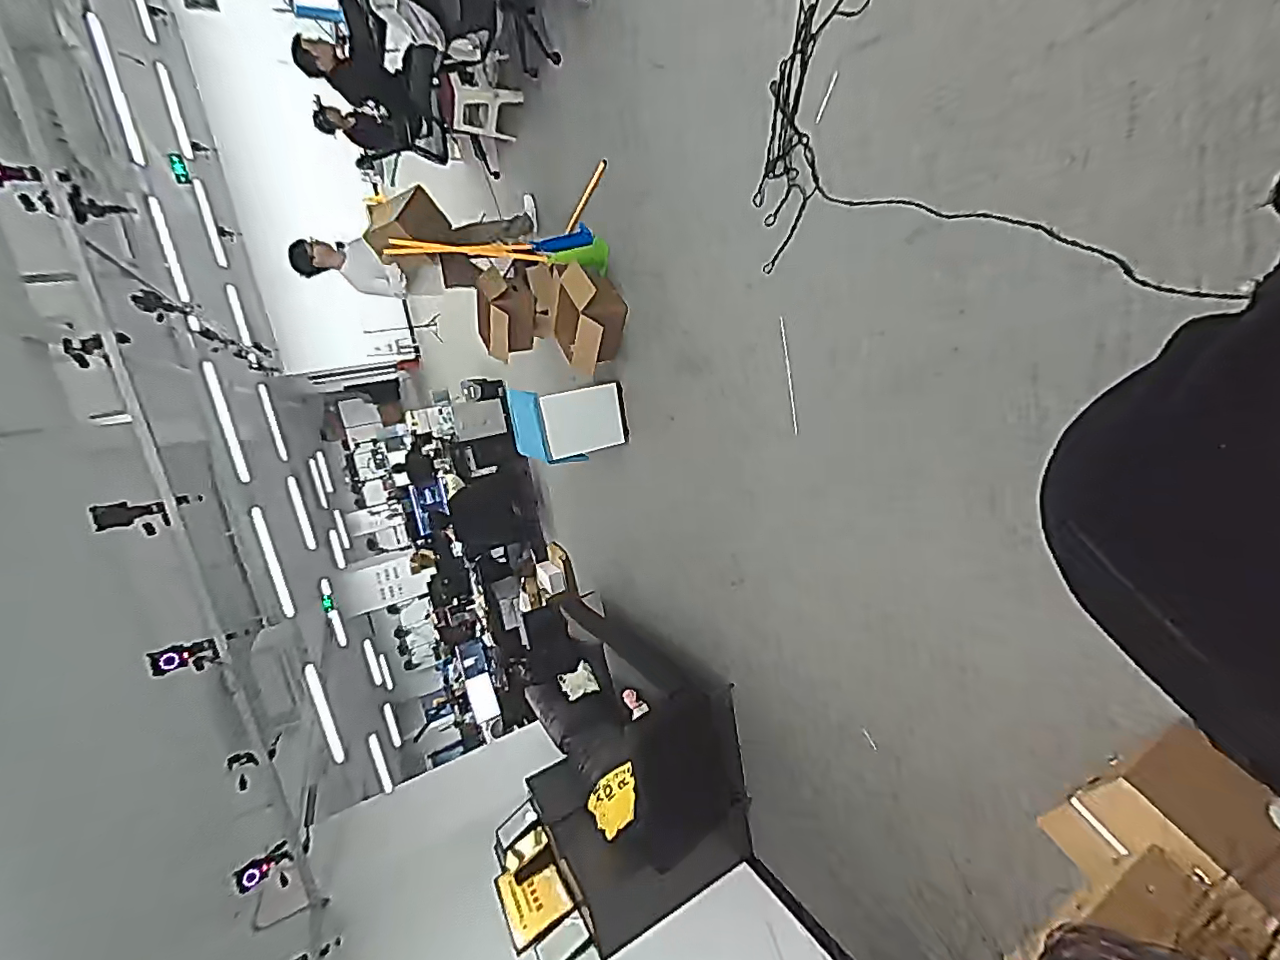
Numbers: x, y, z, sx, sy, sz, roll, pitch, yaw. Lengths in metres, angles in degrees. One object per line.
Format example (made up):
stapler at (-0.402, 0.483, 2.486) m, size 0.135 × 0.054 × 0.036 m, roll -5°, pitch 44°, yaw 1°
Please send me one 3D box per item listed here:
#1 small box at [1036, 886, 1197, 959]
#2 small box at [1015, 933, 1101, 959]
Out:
small box at (0.914, 0.923, 1.022) m, size 0.179 × 0.176 × 0.168 m, roll 53°, pitch 148°, yaw 41°
small box at (0.762, 0.956, 0.964) m, size 0.168 × 0.176 × 0.179 m, roll 53°, pitch 148°, yaw 41°
